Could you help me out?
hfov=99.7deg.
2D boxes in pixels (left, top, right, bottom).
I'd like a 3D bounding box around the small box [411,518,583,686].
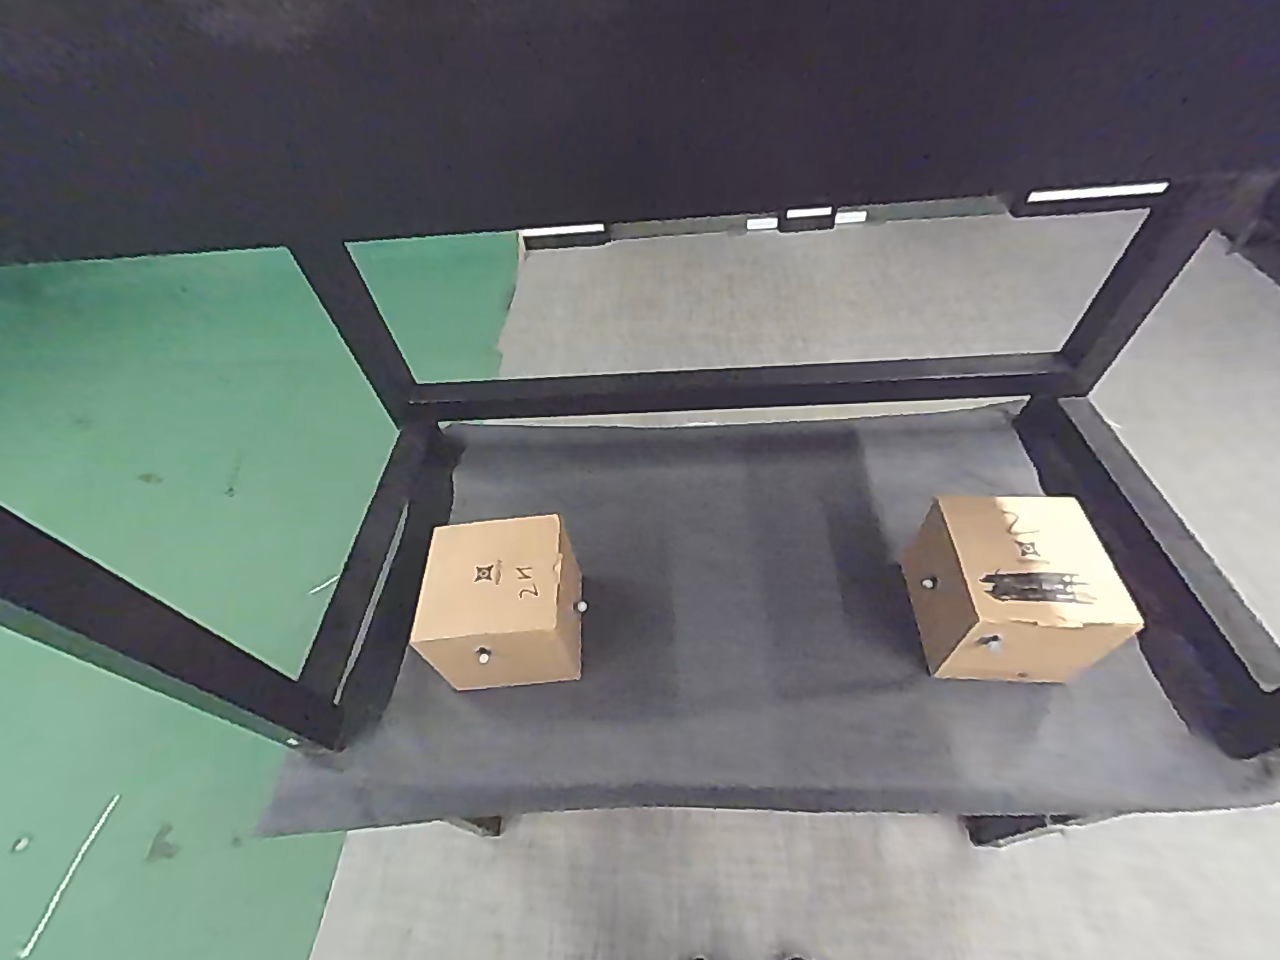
[{"bbox_3d":[-0.181,0.172,0.743,0.179,0.176,0.168,-5,51,1],"label":"small box"}]
